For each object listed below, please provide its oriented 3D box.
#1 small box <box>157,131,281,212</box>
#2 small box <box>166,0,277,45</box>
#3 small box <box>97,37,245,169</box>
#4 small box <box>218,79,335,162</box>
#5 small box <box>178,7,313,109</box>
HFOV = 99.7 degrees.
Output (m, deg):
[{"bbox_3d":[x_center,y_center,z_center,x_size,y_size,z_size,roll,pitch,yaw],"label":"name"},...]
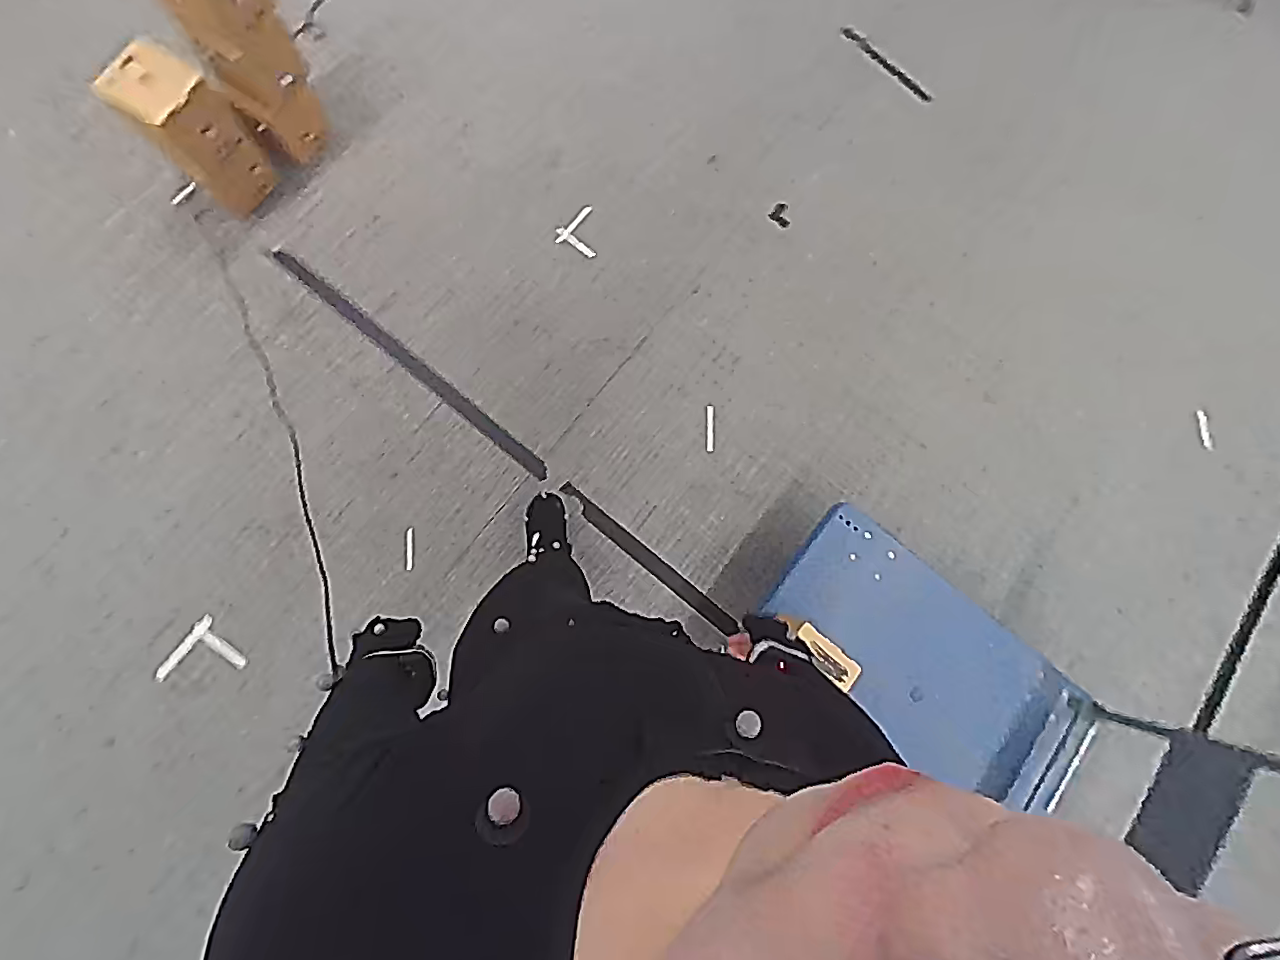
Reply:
[{"bbox_3d":[-1.138,-0.872,1.476,0.179,0.176,0.168,34,78,0],"label":"small box"},{"bbox_3d":[-0.961,-1.125,1.200,0.179,0.176,0.168,28,79,-2],"label":"small box"},{"bbox_3d":[-1.123,-0.901,1.315,0.179,0.176,0.168,31,78,-2],"label":"small box"},{"bbox_3d":[-1.009,-1.042,1.516,0.179,0.176,0.168,30,79,-2],"label":"small box"},{"bbox_3d":[-0.979,-1.090,1.360,0.179,0.176,0.168,31,79,-2],"label":"small box"}]
